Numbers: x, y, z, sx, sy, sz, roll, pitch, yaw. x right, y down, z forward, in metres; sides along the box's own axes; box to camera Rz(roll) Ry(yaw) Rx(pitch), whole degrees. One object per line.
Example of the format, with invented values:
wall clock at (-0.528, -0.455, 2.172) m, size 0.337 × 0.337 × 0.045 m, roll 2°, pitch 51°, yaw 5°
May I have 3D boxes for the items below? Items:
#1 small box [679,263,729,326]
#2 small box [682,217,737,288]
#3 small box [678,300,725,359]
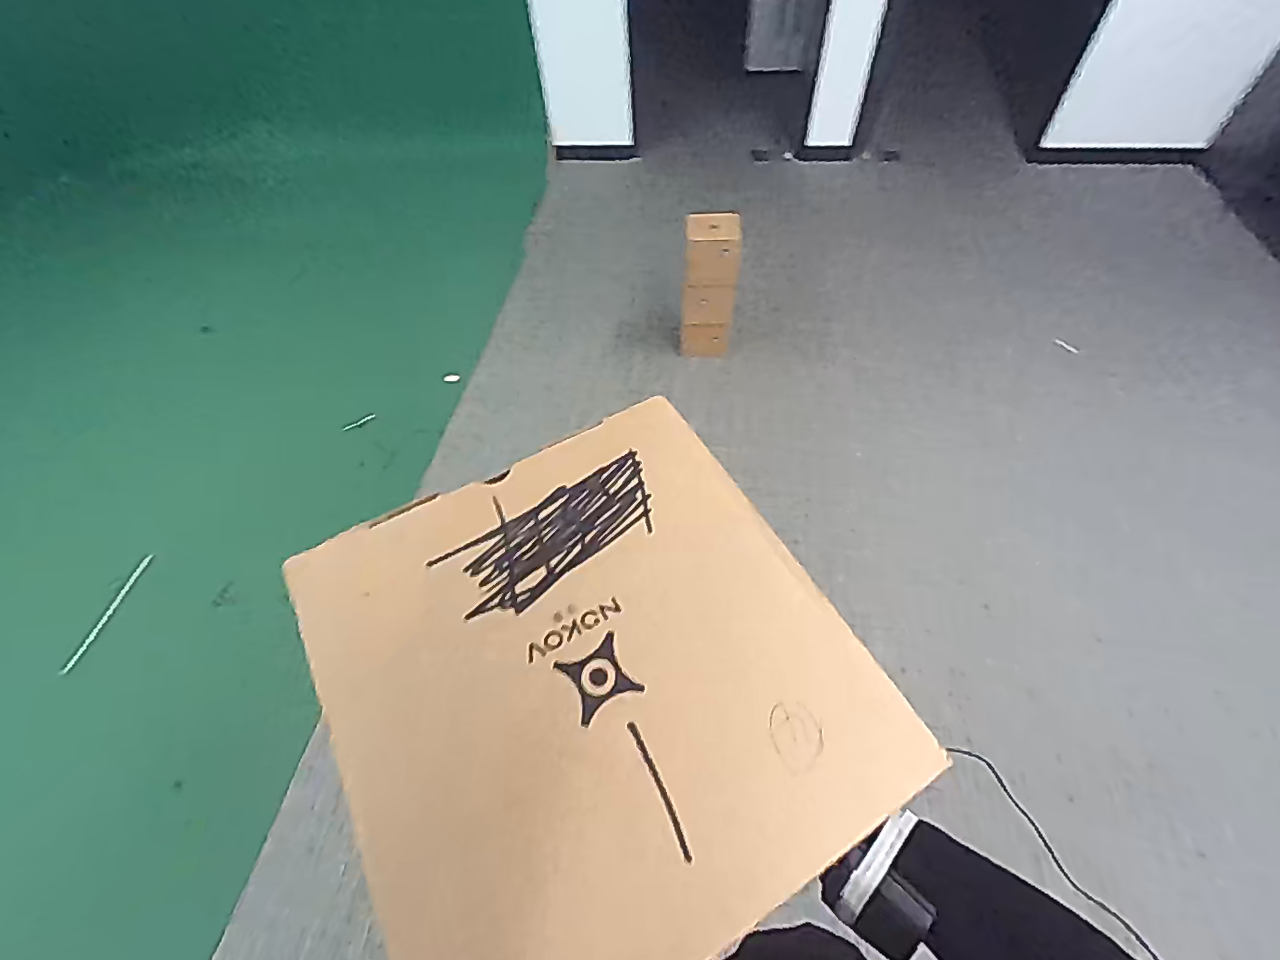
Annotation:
small box at (0.236, -0.686, 1.999) m, size 0.179 × 0.176 × 0.168 m, roll -1°, pitch 54°, yaw 4°
small box at (0.235, -0.781, 1.863) m, size 0.179 × 0.176 × 0.168 m, roll 0°, pitch 53°, yaw 4°
small box at (0.239, -0.594, 2.136) m, size 0.179 × 0.176 × 0.168 m, roll -1°, pitch 54°, yaw 5°
